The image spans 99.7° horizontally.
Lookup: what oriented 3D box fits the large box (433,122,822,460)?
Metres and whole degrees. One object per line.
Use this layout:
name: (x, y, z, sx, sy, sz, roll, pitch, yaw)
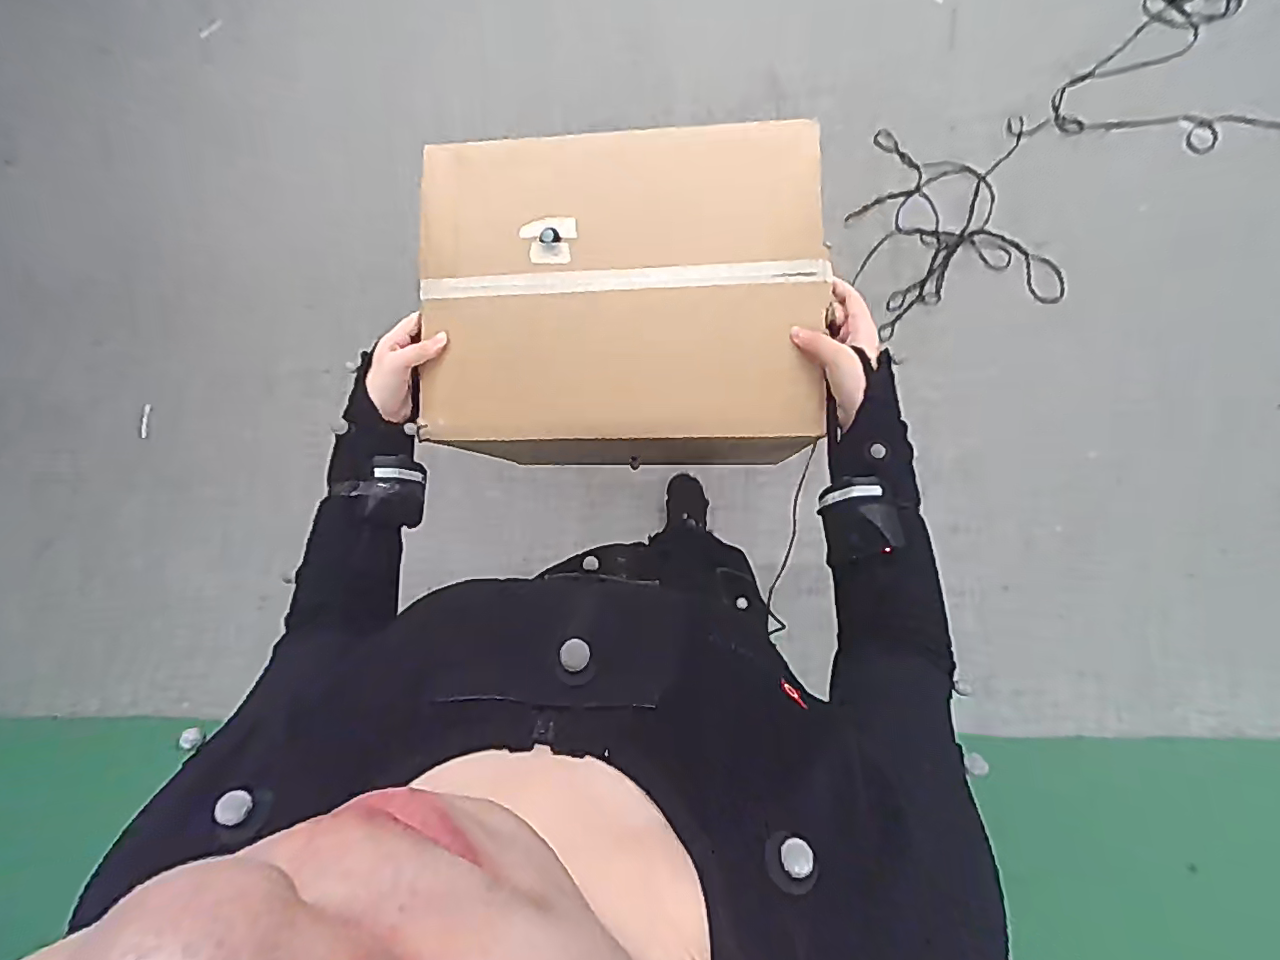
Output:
large box: (-0.002, -0.193, 0.701, 0.408, 0.320, 0.320, -1, 86, 7)
